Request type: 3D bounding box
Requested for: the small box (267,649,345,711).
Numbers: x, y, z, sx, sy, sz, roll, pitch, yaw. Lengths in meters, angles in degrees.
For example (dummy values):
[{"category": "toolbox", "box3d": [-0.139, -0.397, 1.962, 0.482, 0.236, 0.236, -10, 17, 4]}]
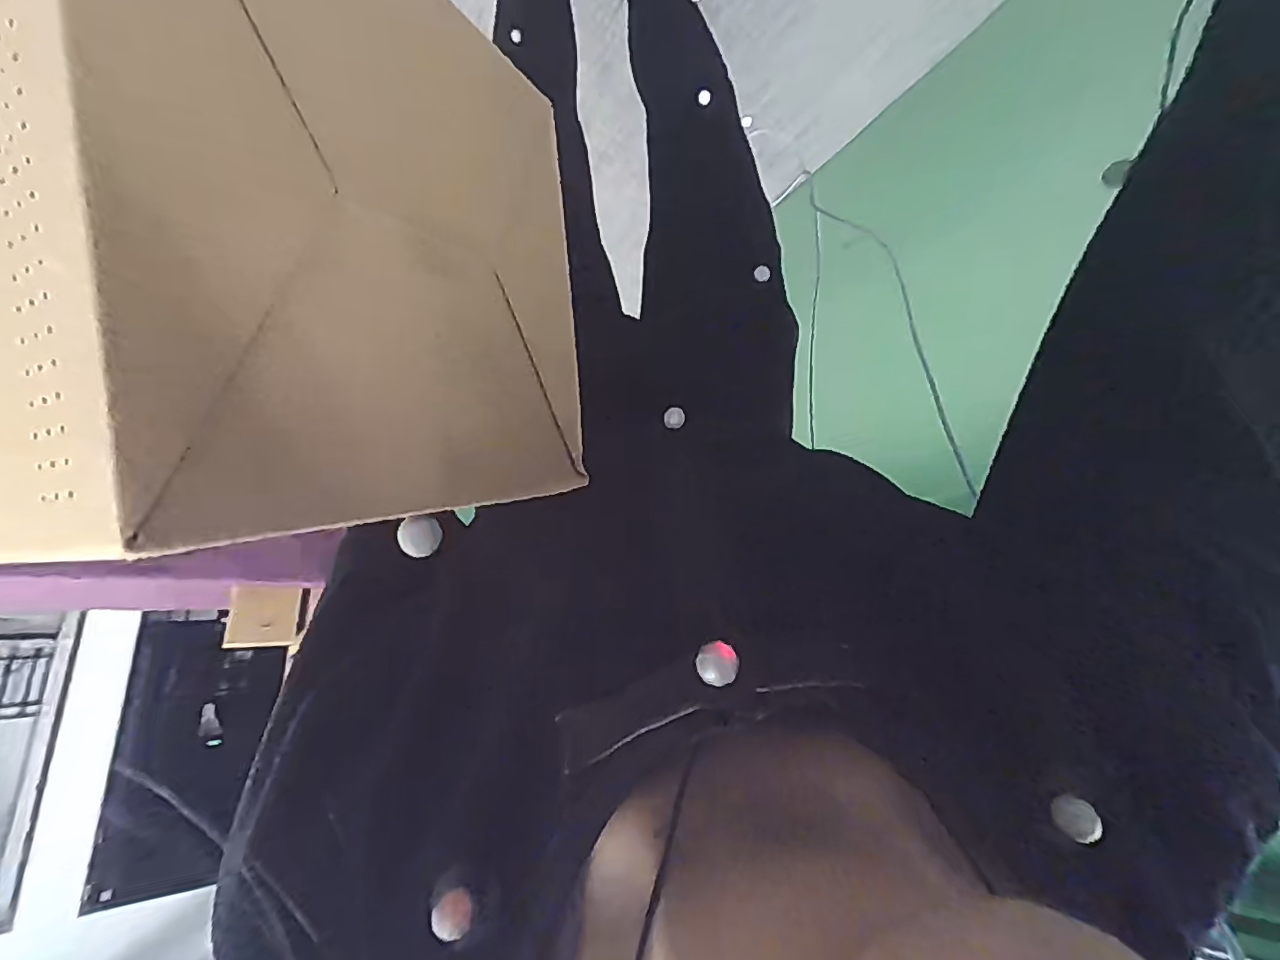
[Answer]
[{"category": "small box", "box3d": [-1.051, 0.626, 1.706, 0.179, 0.176, 0.168, -22, 154, 39]}]
